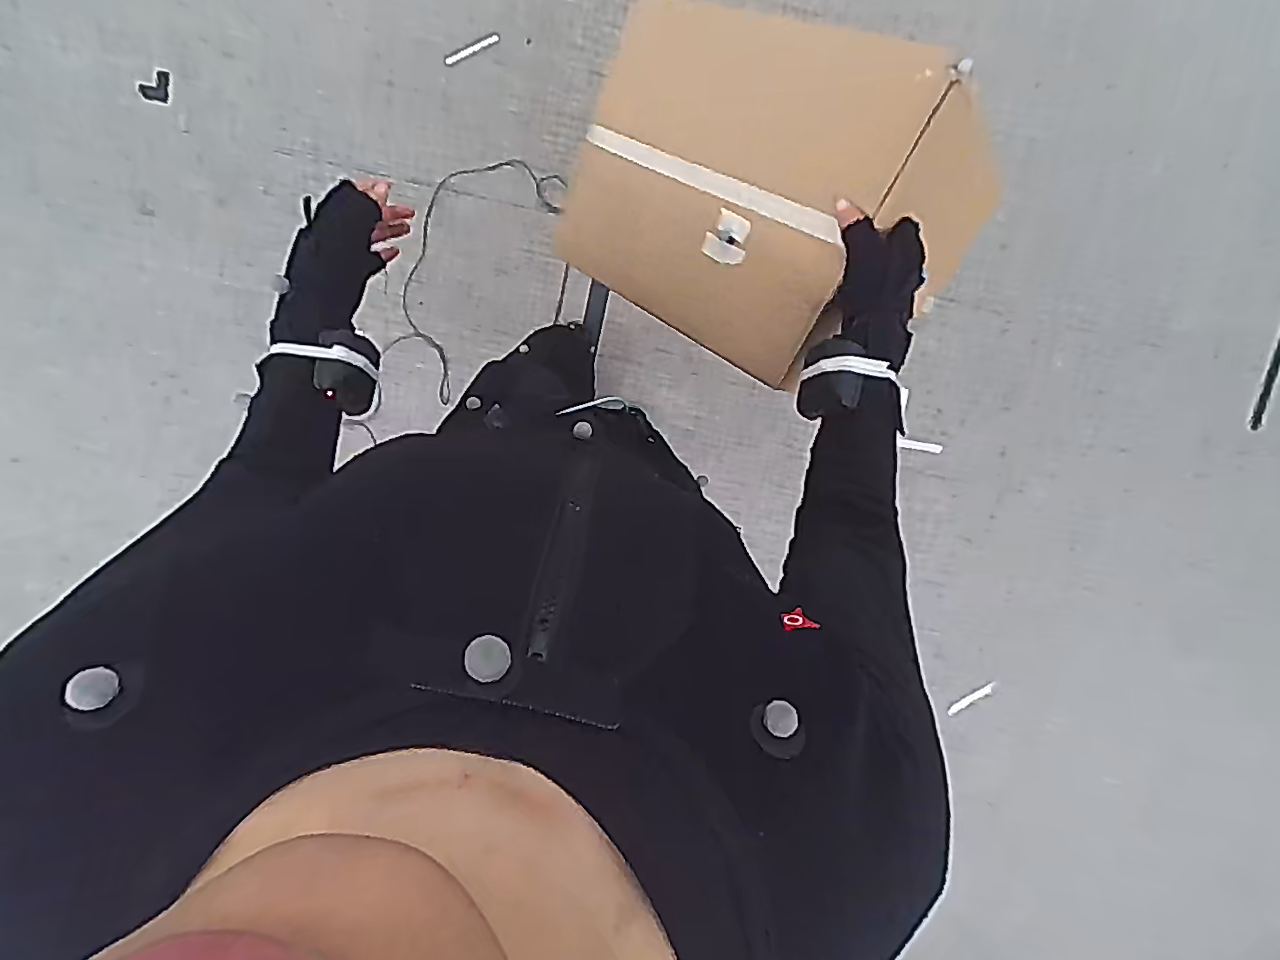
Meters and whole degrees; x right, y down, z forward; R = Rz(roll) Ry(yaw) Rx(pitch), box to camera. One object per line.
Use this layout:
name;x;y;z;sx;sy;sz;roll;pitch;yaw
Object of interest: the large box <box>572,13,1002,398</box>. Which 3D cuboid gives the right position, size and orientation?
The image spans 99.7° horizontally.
large box;0.184;-0.347;0.738;0.408;0.320;0.320;41;118;30
